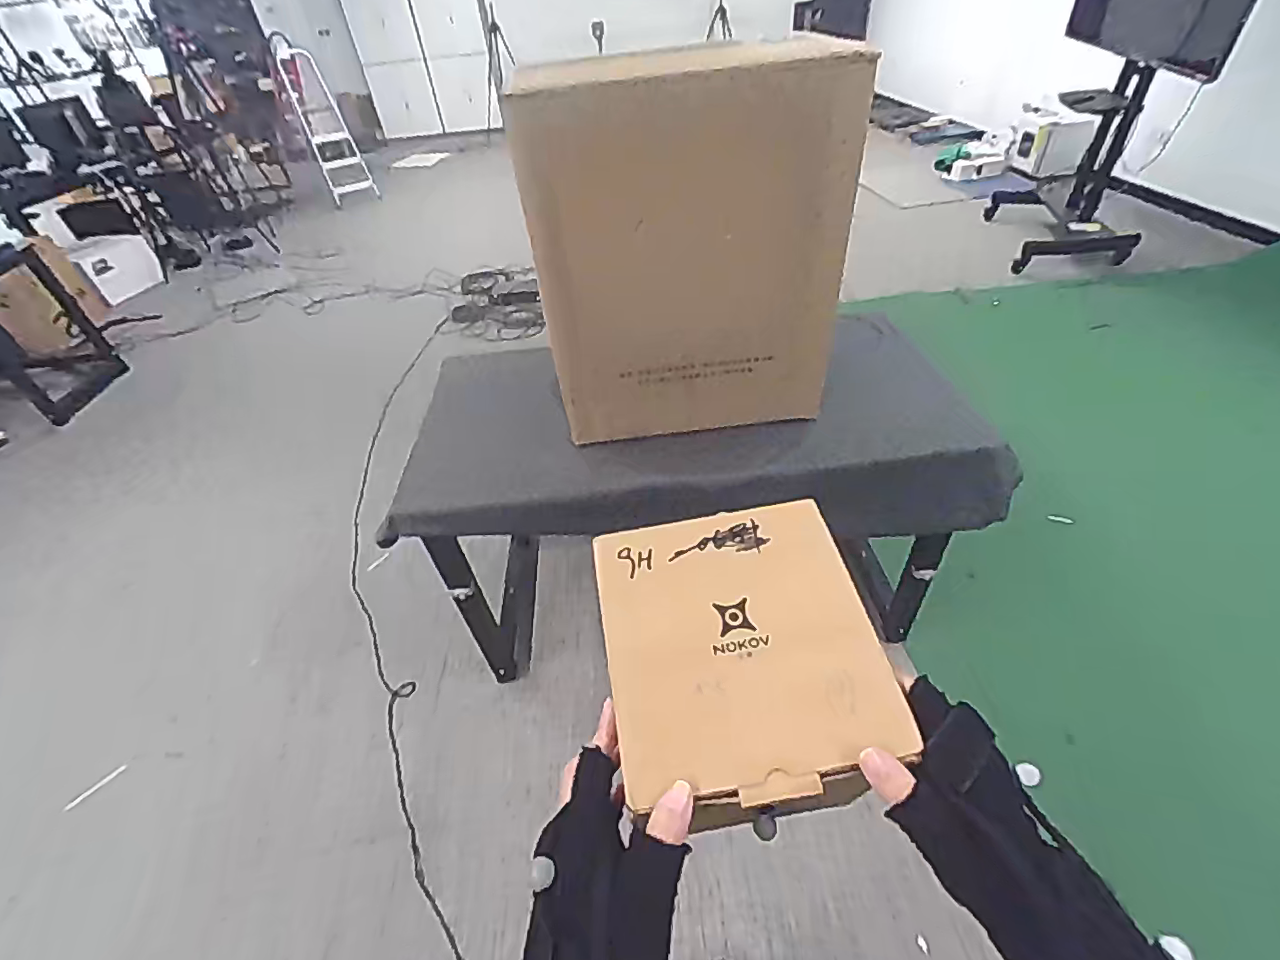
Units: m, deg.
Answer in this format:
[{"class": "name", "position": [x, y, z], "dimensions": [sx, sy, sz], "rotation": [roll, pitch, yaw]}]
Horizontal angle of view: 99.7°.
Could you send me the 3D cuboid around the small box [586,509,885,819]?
[{"class": "small box", "position": [0.060, 0.153, 0.430], "dimensions": [0.168, 0.176, 0.179], "rotation": [-12, 53, -3]}]
